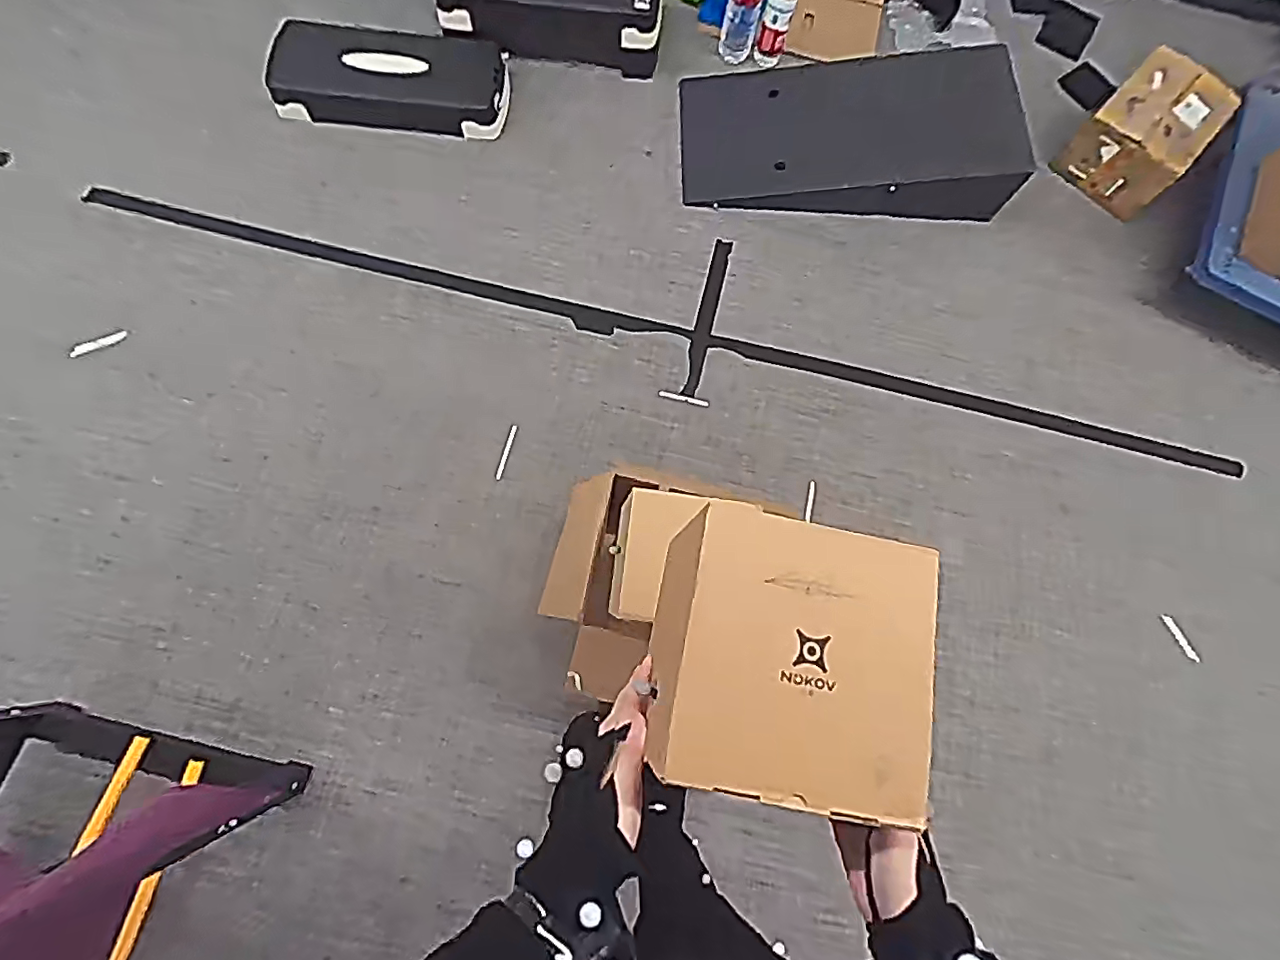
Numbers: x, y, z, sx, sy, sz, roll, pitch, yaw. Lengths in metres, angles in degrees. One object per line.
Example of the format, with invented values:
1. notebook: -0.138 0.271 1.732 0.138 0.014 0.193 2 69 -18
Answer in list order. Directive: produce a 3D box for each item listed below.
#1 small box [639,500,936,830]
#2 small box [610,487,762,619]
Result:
1. small box: 0.098 0.134 0.422 0.168 0.176 0.179 13 73 -3
2. small box: 0.055 0.115 0.758 0.179 0.176 0.168 8 78 -6
